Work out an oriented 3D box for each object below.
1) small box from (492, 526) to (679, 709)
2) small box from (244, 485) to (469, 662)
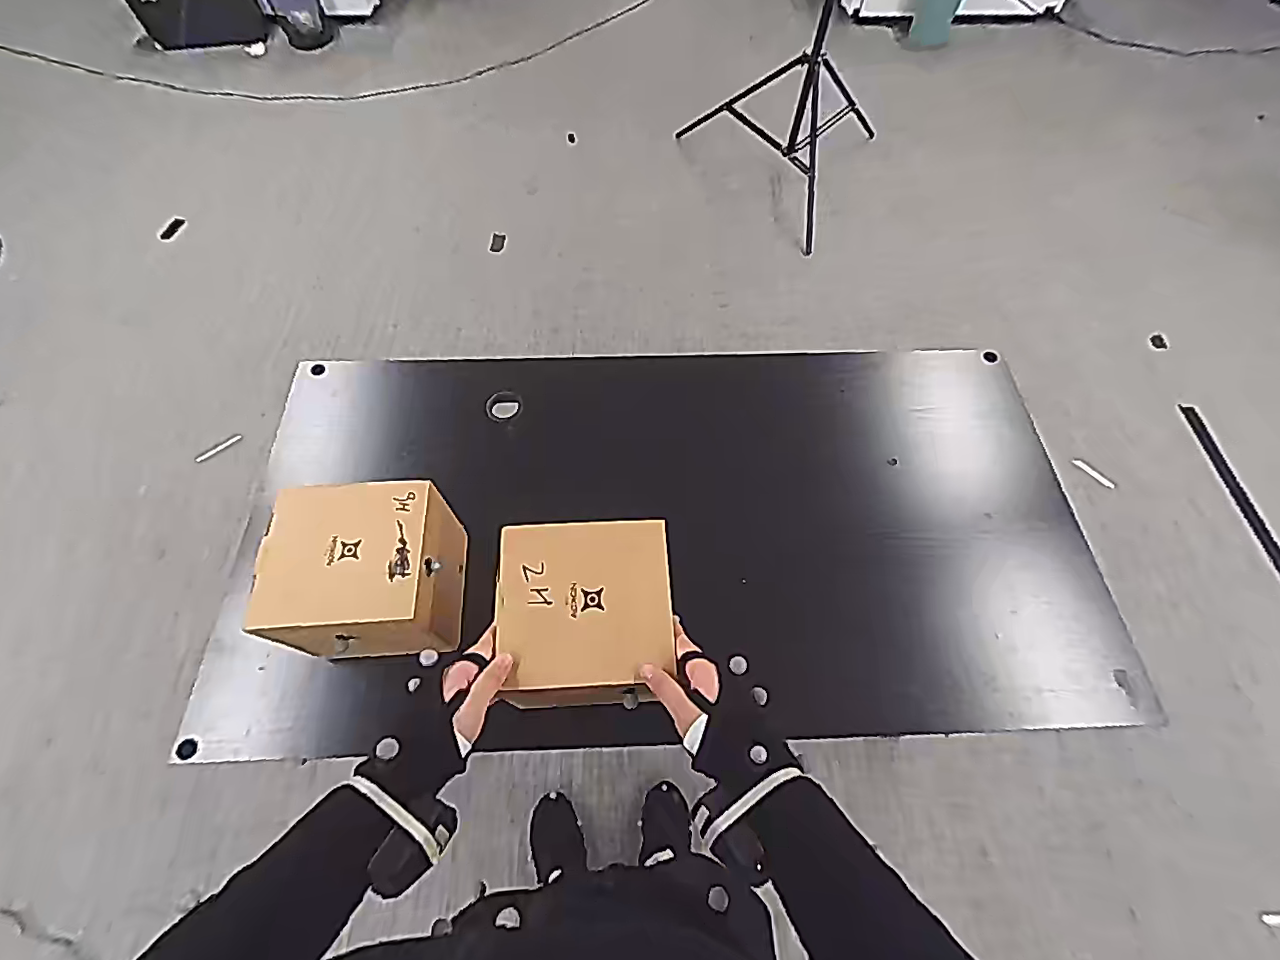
[{"bbox_3d":[-0.056,0.160,0.609,0.179,0.176,0.168,-2,62,-2],"label":"small box"},{"bbox_3d":[-0.326,0.121,0.663,0.179,0.176,0.168,-4,62,-2],"label":"small box"}]
